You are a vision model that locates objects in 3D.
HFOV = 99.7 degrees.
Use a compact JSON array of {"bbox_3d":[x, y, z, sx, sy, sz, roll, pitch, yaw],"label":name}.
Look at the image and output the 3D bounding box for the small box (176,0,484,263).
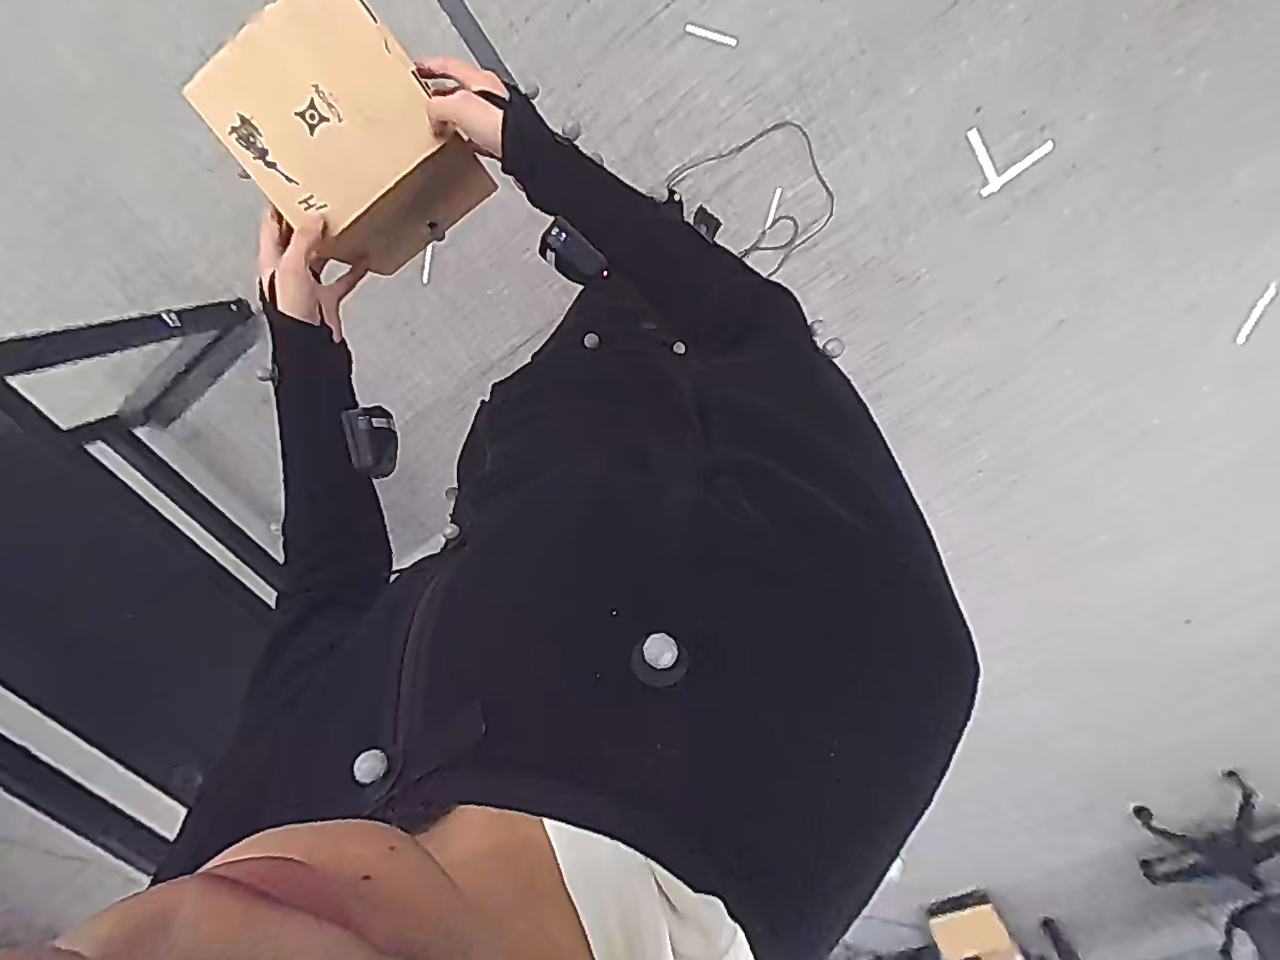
[{"bbox_3d":[-0.277,-0.346,0.537,0.179,0.176,0.168,-35,102,6],"label":"small box"}]
